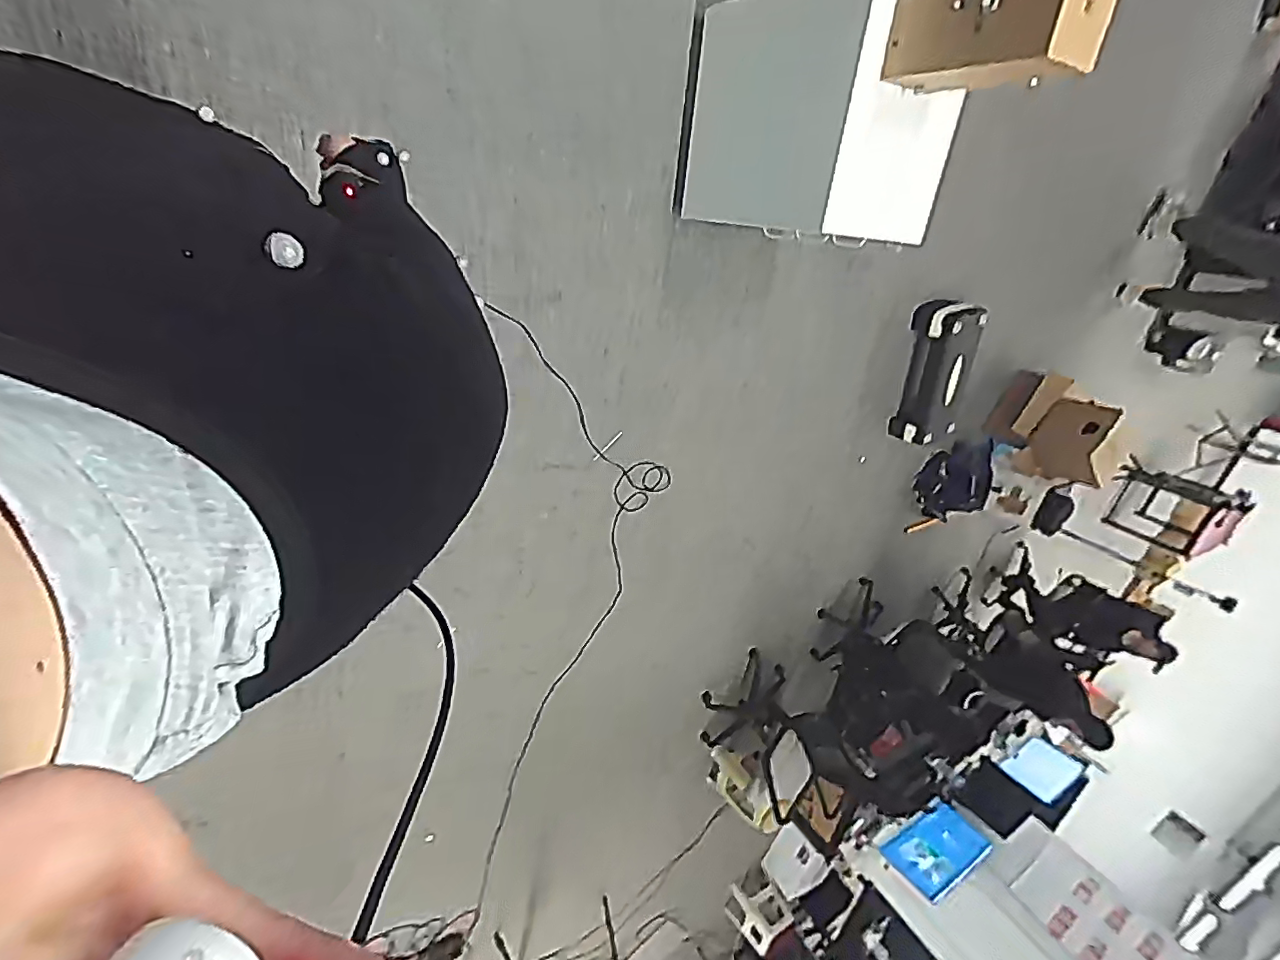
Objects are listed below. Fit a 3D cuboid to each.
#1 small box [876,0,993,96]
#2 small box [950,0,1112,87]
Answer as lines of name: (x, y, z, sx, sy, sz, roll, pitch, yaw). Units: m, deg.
small box: (0.618, -0.892, 1.093, 0.179, 0.176, 0.168, -13, 122, -31)
small box: (0.704, -0.823, 0.973, 0.179, 0.176, 0.168, -15, 122, -29)
